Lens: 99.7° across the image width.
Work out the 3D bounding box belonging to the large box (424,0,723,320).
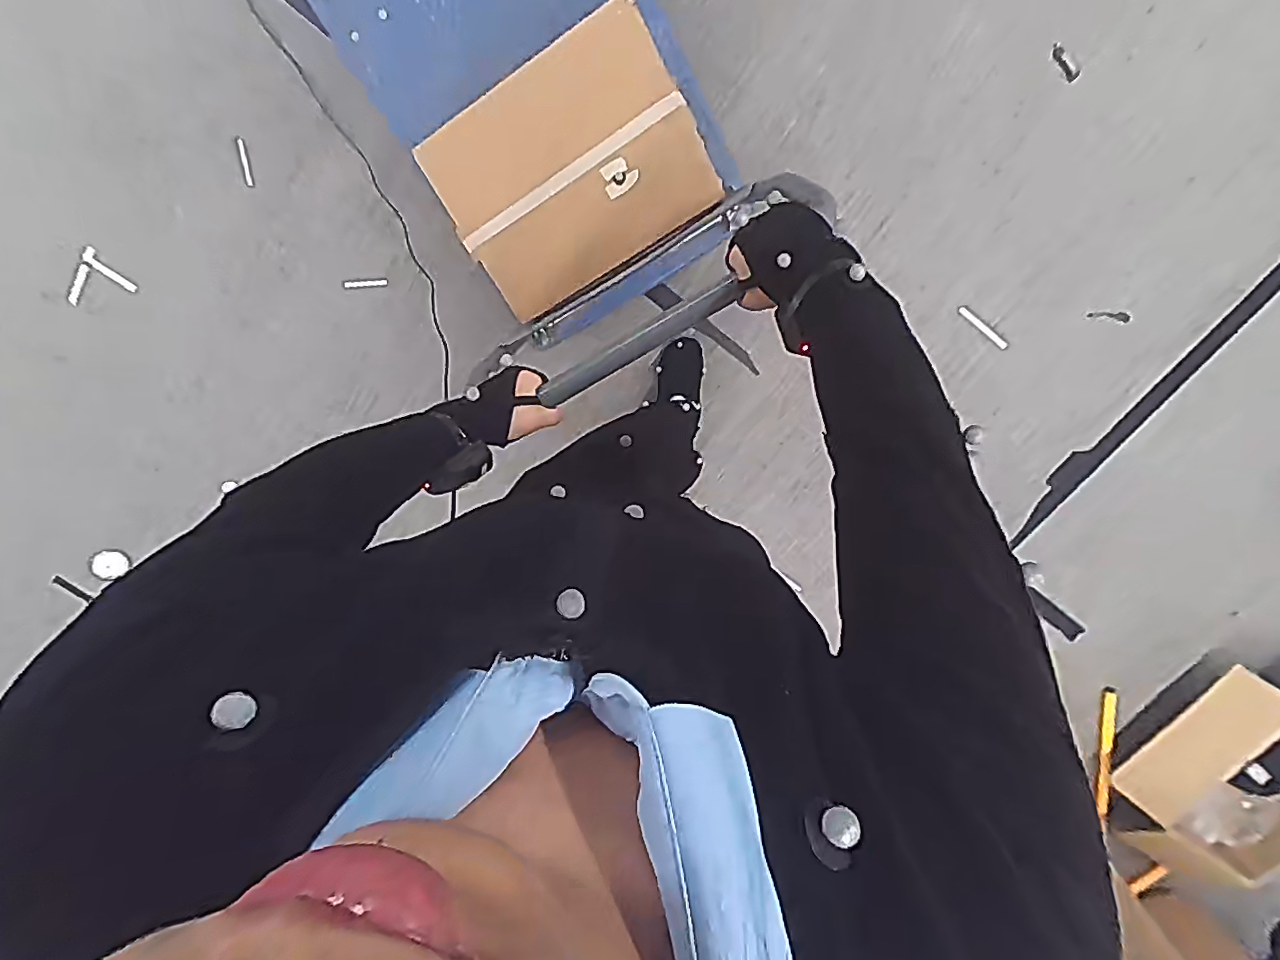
[{"bbox_3d":[-0.106,-0.549,1.018,0.408,0.320,0.320,-29,109,11],"label":"large box"}]
